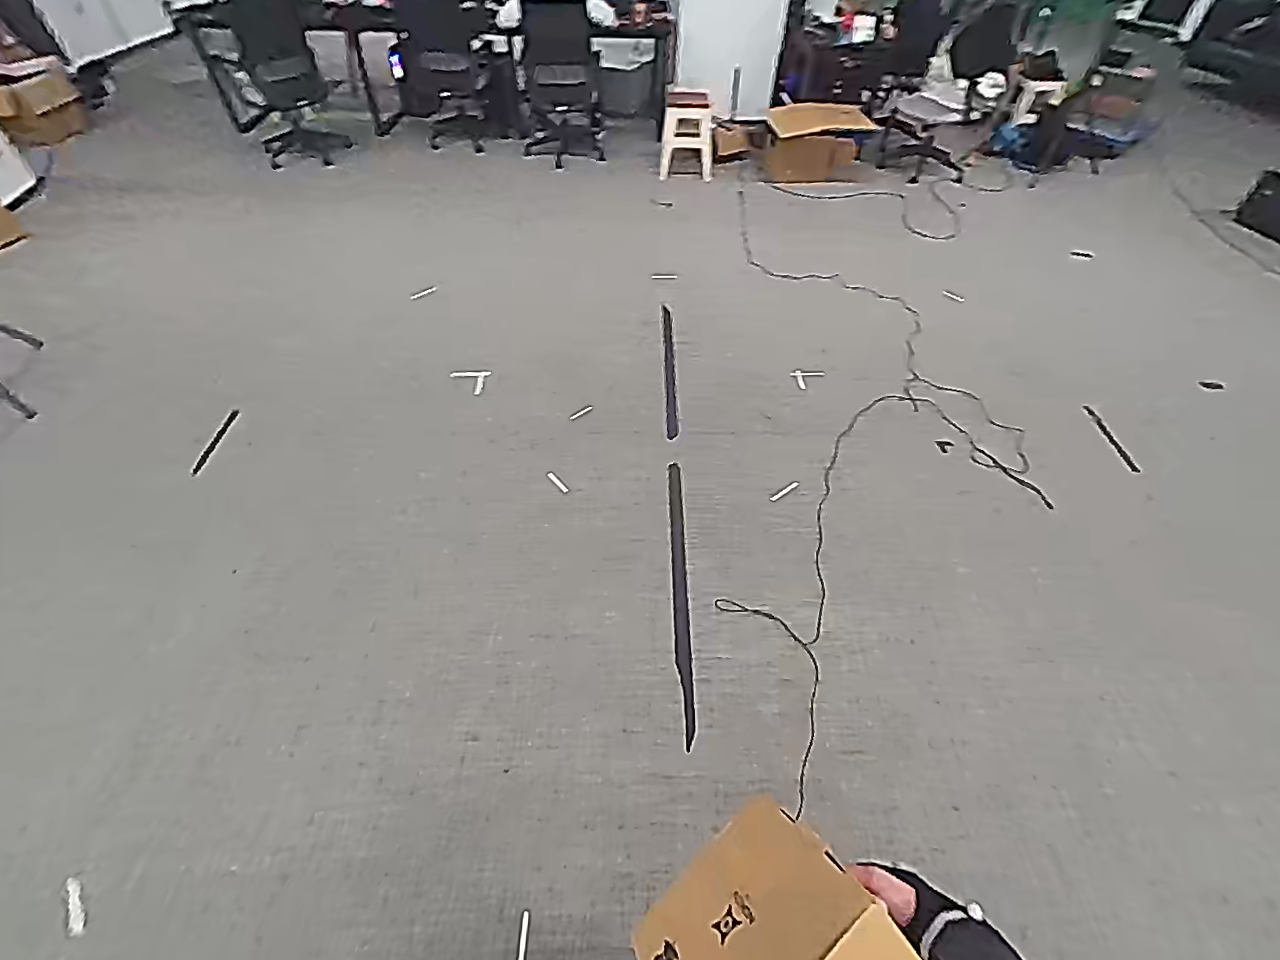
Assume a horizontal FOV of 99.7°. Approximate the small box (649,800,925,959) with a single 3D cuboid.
[{"bbox_3d":[0.140,0.428,0.450,0.179,0.168,0.176,-37,93,-15],"label":"small box"}]
